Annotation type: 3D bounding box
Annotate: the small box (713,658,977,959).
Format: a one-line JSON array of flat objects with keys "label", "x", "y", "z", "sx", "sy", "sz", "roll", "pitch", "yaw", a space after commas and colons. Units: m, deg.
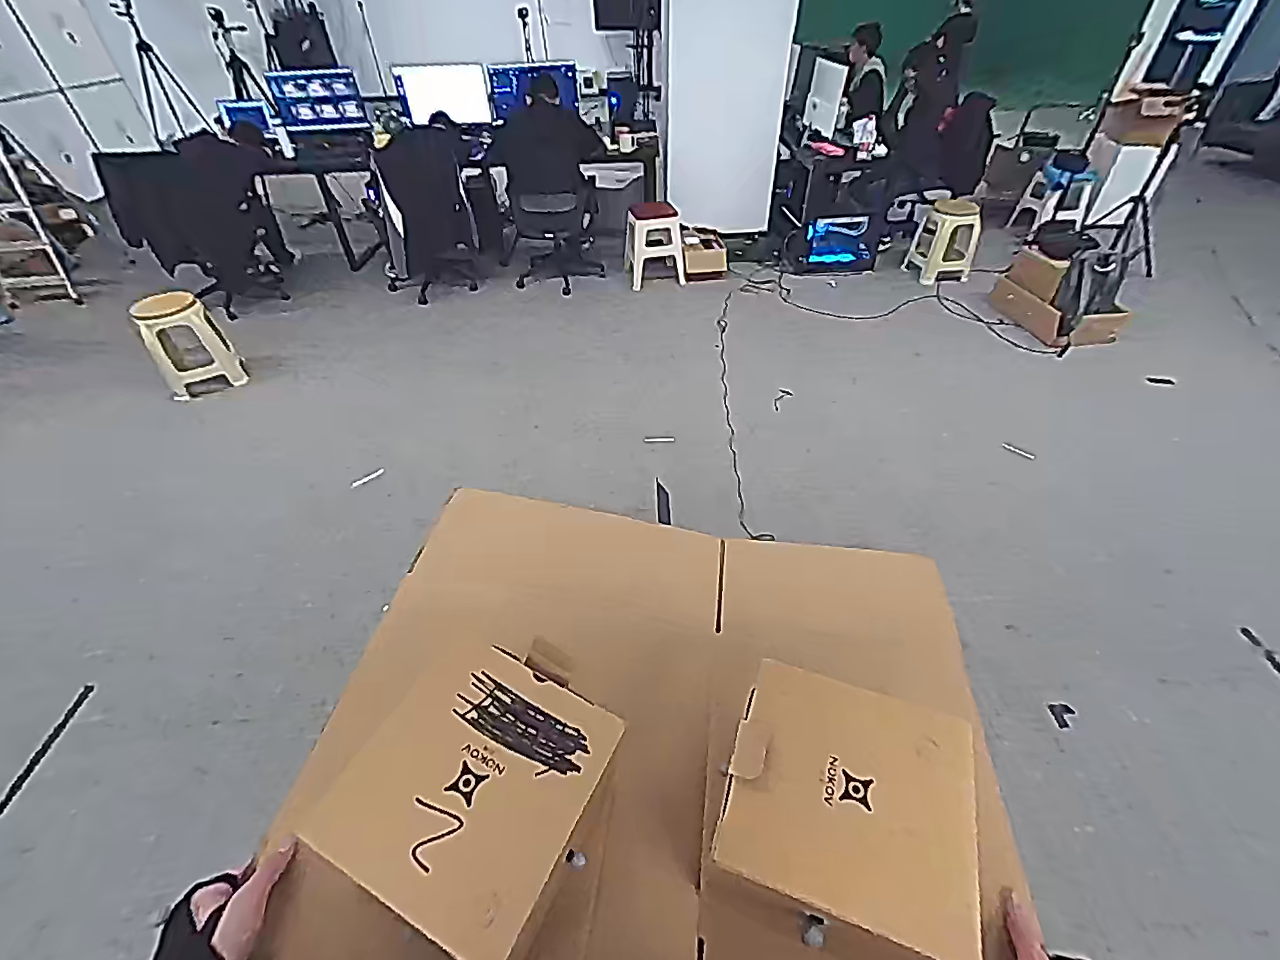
[{"label": "small box", "x": 0.171, "y": 0.292, "z": 0.481, "sx": 0.179, "sy": 0.176, "sz": 0.168, "roll": 12, "pitch": 48, "yaw": 17}]
